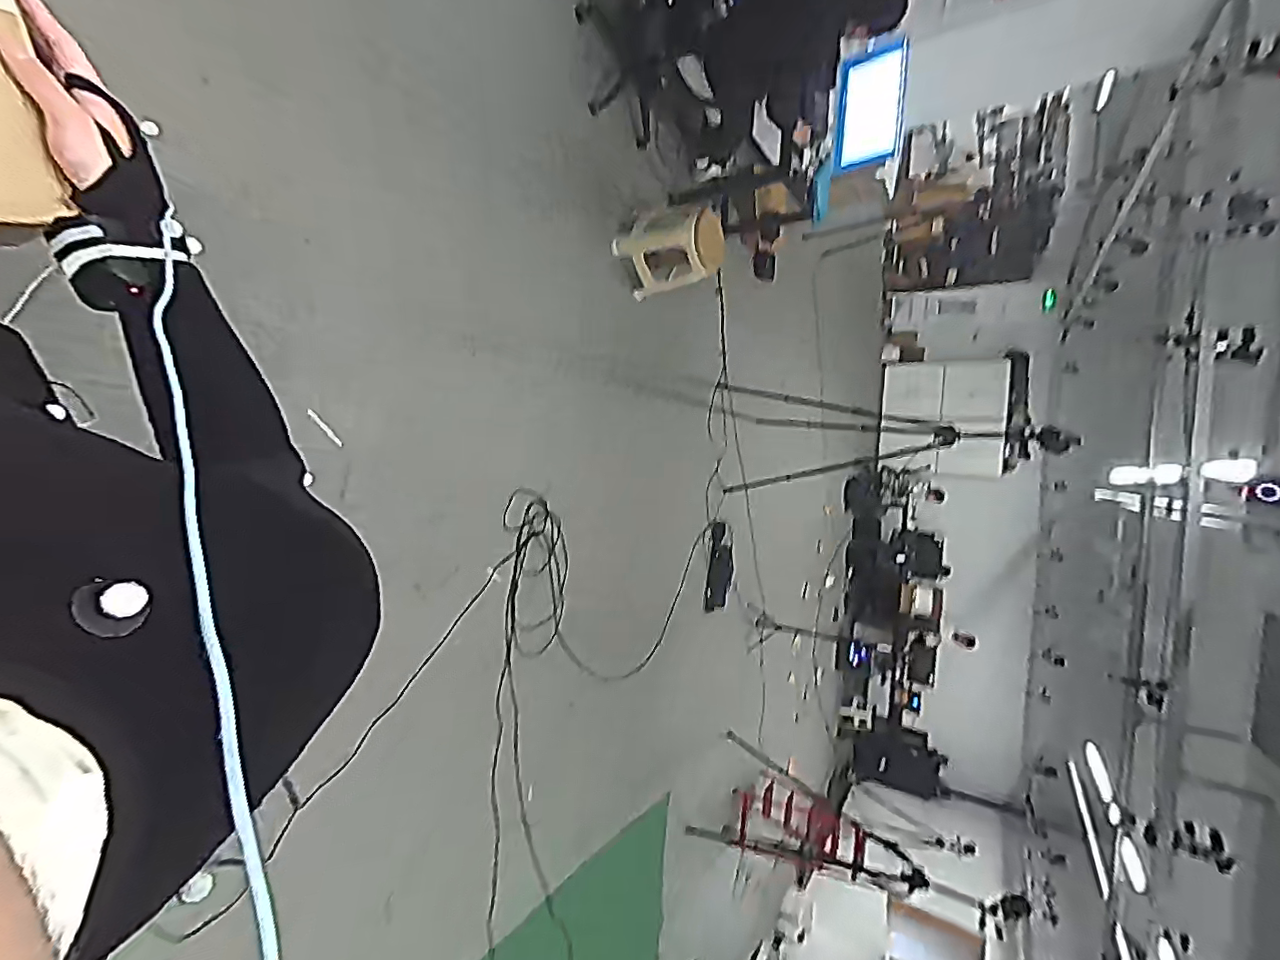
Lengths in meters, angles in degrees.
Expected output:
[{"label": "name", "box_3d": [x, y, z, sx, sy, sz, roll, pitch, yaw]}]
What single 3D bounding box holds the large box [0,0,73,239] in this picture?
[{"label": "large box", "box_3d": [-0.725, -0.337, 0.343, 0.408, 0.320, 0.320, -26, 122, -50]}]
